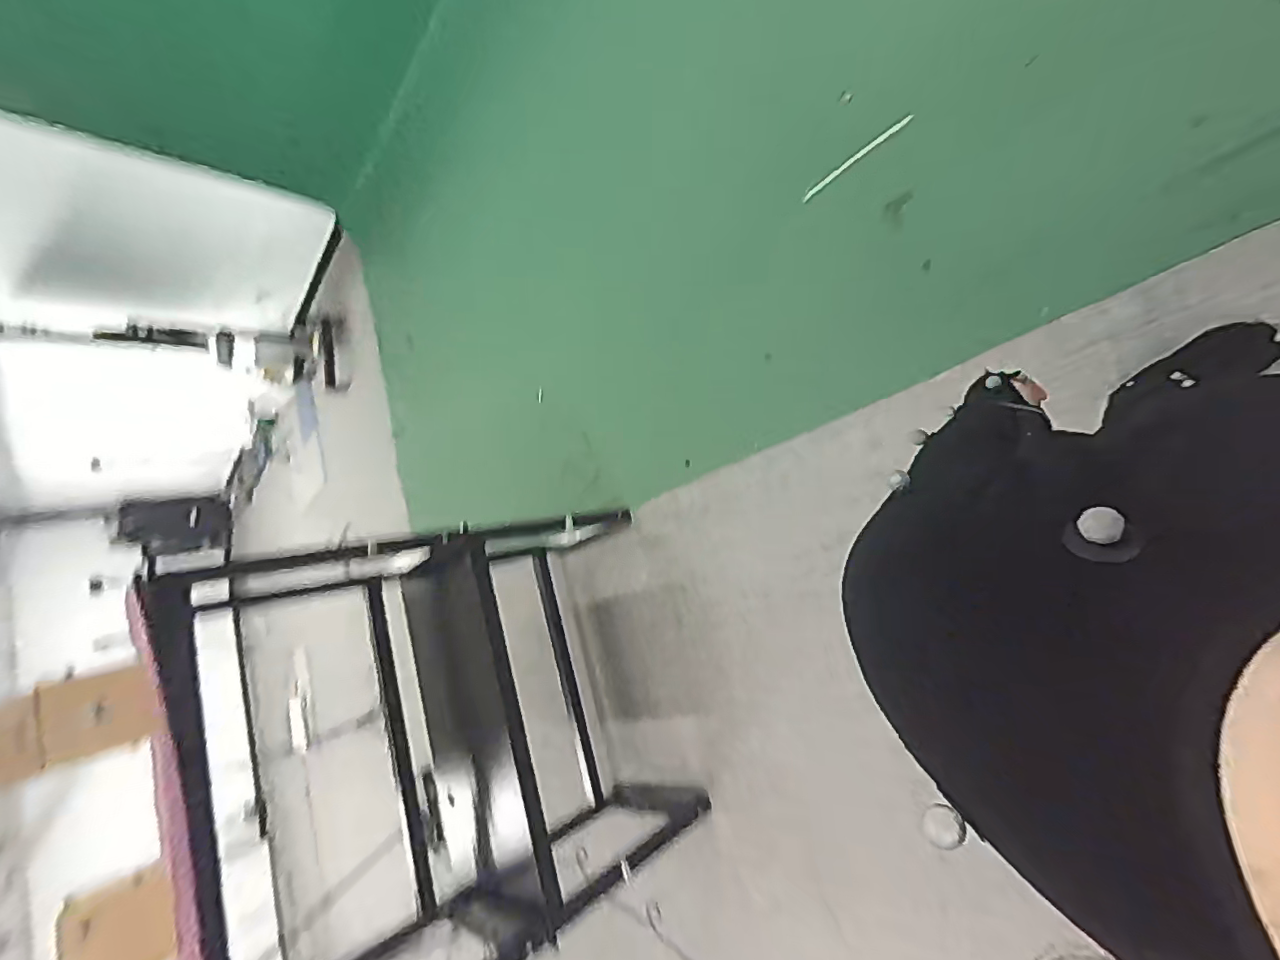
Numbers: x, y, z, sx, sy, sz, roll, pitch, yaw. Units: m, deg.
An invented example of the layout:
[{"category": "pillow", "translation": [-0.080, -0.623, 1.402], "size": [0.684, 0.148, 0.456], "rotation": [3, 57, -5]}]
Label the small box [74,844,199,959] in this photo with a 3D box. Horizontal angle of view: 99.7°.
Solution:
[{"category": "small box", "translation": [-1.021, 0.893, 1.106], "size": [0.168, 0.176, 0.179], "rotation": [-24, 76, 45]}]

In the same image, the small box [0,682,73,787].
[{"category": "small box", "translation": [-1.229, 0.498, 1.037], "size": [0.179, 0.176, 0.168], "rotation": [-25, 78, 46]}]
